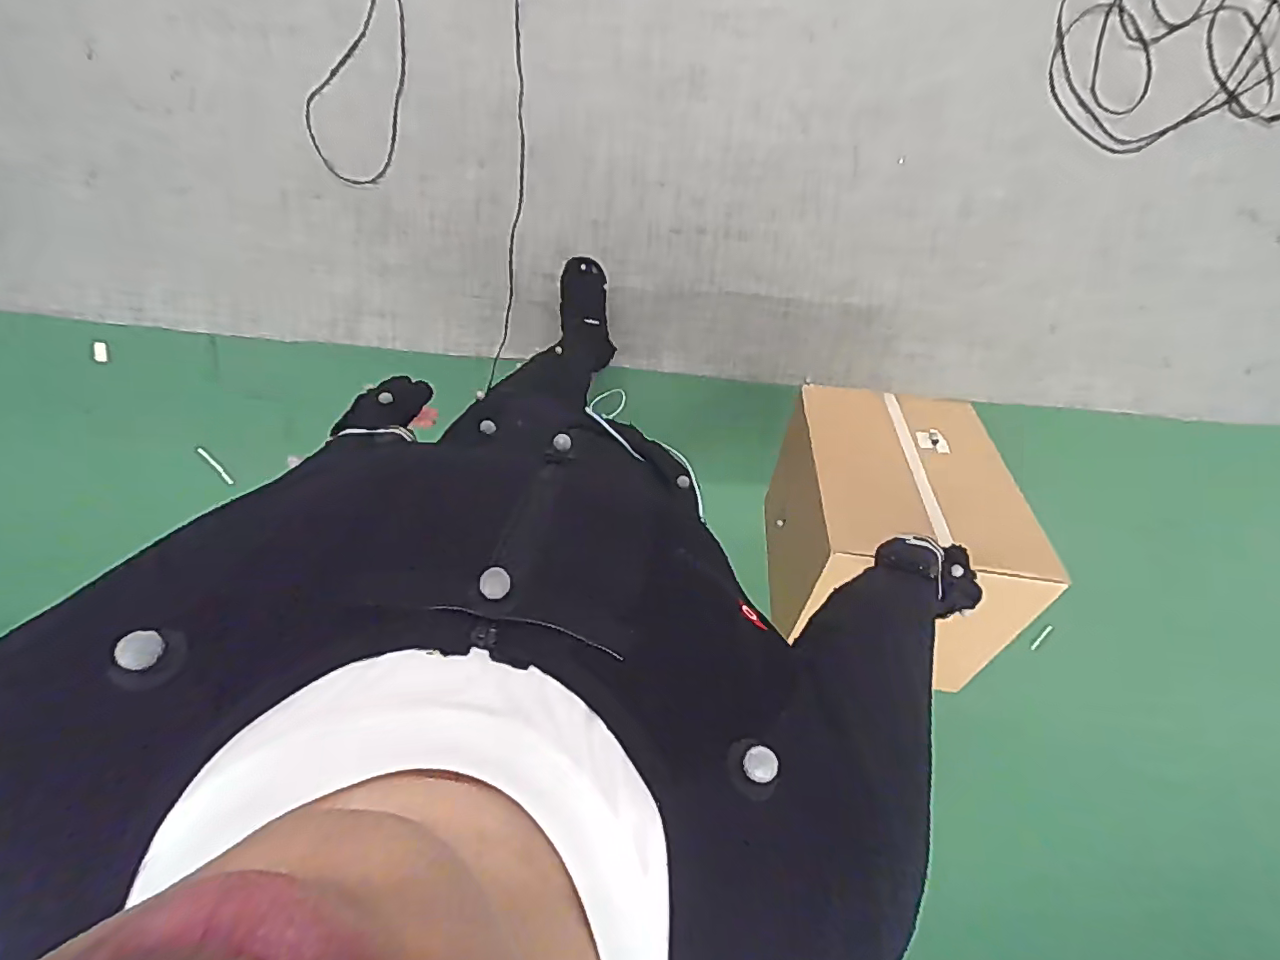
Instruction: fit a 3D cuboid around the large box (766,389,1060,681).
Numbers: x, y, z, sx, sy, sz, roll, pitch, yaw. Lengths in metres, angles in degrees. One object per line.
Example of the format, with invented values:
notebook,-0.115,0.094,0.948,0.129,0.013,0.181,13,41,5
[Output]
large box,0.419,0.089,0.965,0.320,0.408,0.320,8,132,2
